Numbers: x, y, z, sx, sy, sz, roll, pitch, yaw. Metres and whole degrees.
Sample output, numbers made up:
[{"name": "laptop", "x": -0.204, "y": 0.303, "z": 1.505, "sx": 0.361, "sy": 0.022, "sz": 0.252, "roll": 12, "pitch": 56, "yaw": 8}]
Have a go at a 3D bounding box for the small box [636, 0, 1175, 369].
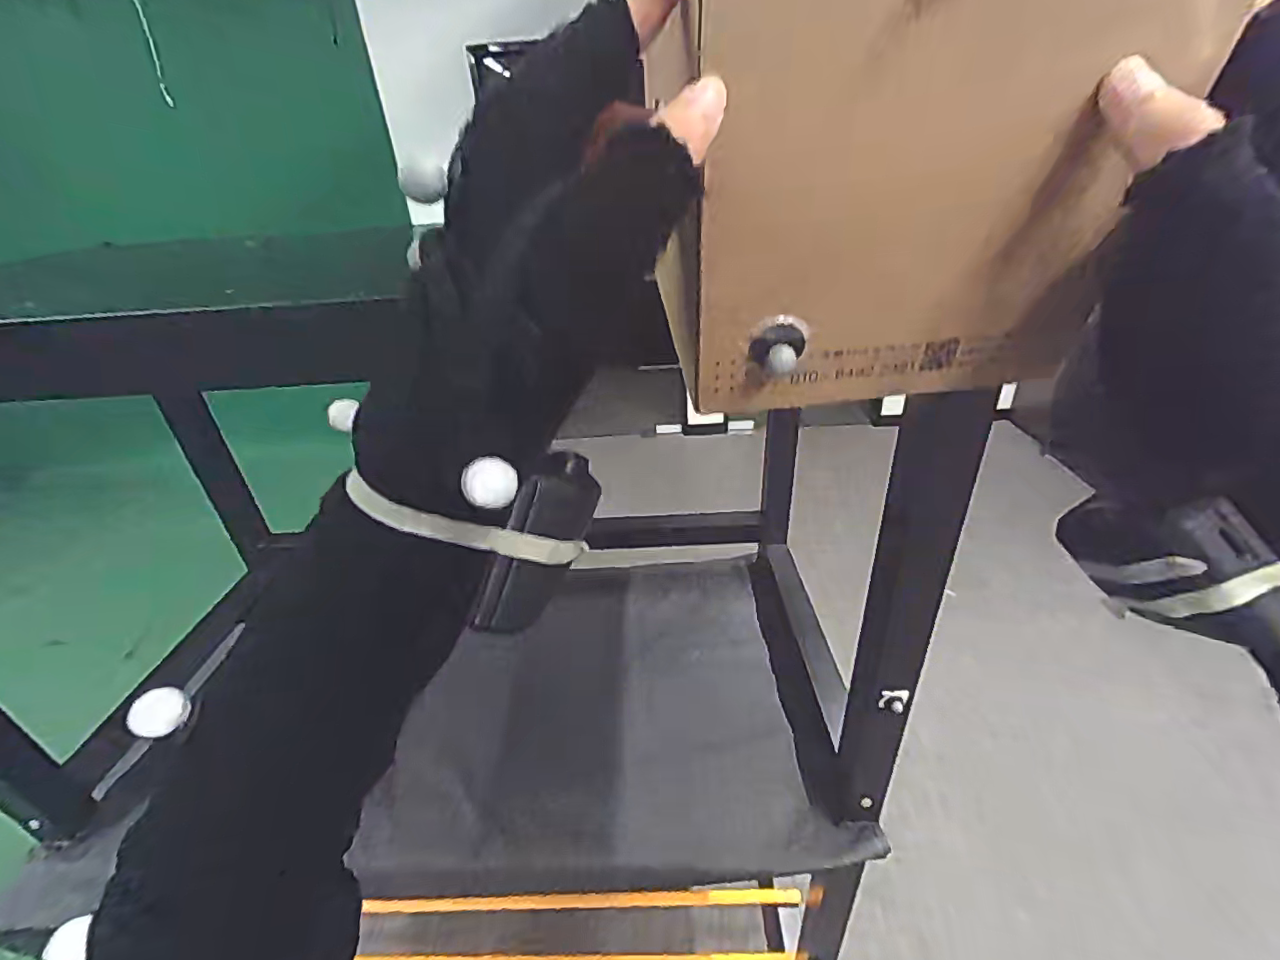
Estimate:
[{"name": "small box", "x": 0.090, "y": -0.162, "z": 0.253, "sx": 0.168, "sy": 0.176, "sz": 0.179, "roll": -6, "pitch": 41, "yaw": -1}]
